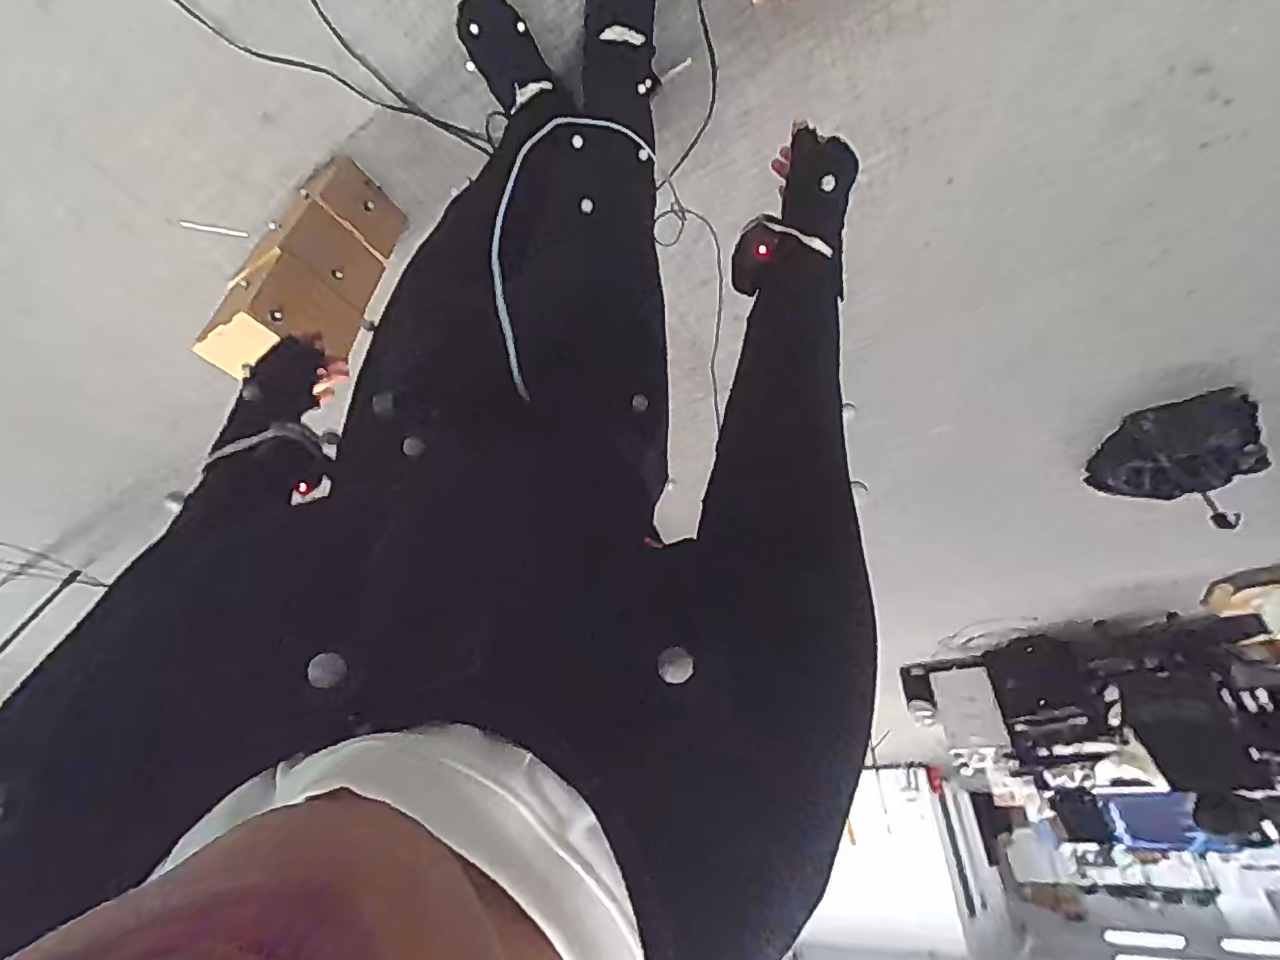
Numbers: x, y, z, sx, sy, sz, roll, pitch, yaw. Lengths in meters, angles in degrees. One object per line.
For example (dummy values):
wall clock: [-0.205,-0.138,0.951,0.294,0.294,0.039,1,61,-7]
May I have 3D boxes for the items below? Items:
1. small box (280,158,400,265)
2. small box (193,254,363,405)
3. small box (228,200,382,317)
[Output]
small box: [-0.647,-0.551,1.169,0.179,0.176,0.168,-18,142,25]
small box: [-0.652,-0.273,0.996,0.168,0.176,0.179,-17,142,25]
small box: [-0.655,-0.413,1.080,0.168,0.176,0.179,-17,142,24]
